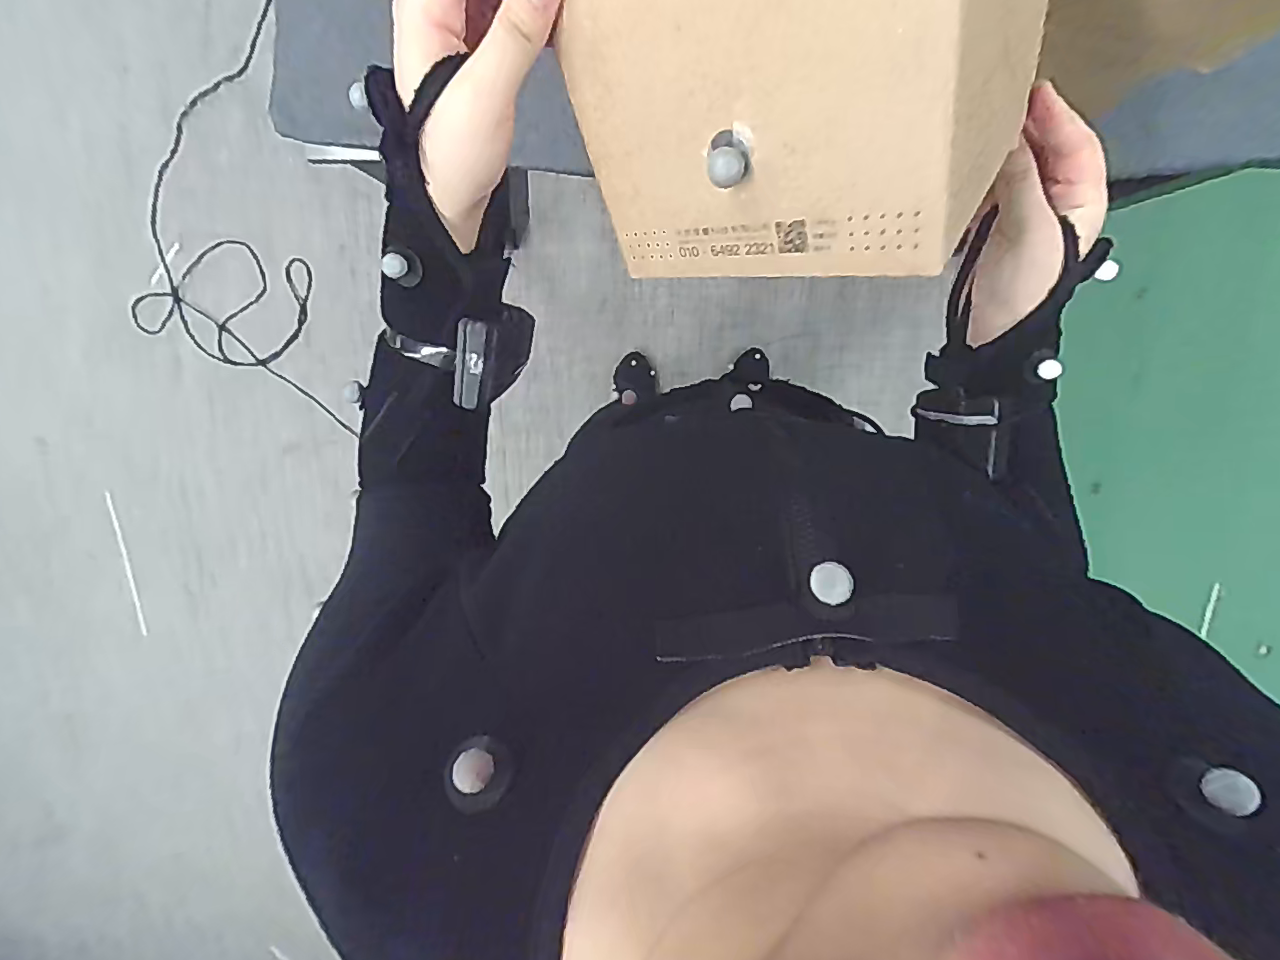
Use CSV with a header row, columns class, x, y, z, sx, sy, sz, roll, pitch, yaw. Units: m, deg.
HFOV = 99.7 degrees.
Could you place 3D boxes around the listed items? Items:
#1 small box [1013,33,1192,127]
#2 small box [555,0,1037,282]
class,x,y,z,sx,sy,sz,roll,pitch,yaw
small box,0.432,-0.481,0.529,0.168,0.176,0.179,3,103,3
small box,0.076,-0.216,0.254,0.168,0.179,0.176,17,147,37
